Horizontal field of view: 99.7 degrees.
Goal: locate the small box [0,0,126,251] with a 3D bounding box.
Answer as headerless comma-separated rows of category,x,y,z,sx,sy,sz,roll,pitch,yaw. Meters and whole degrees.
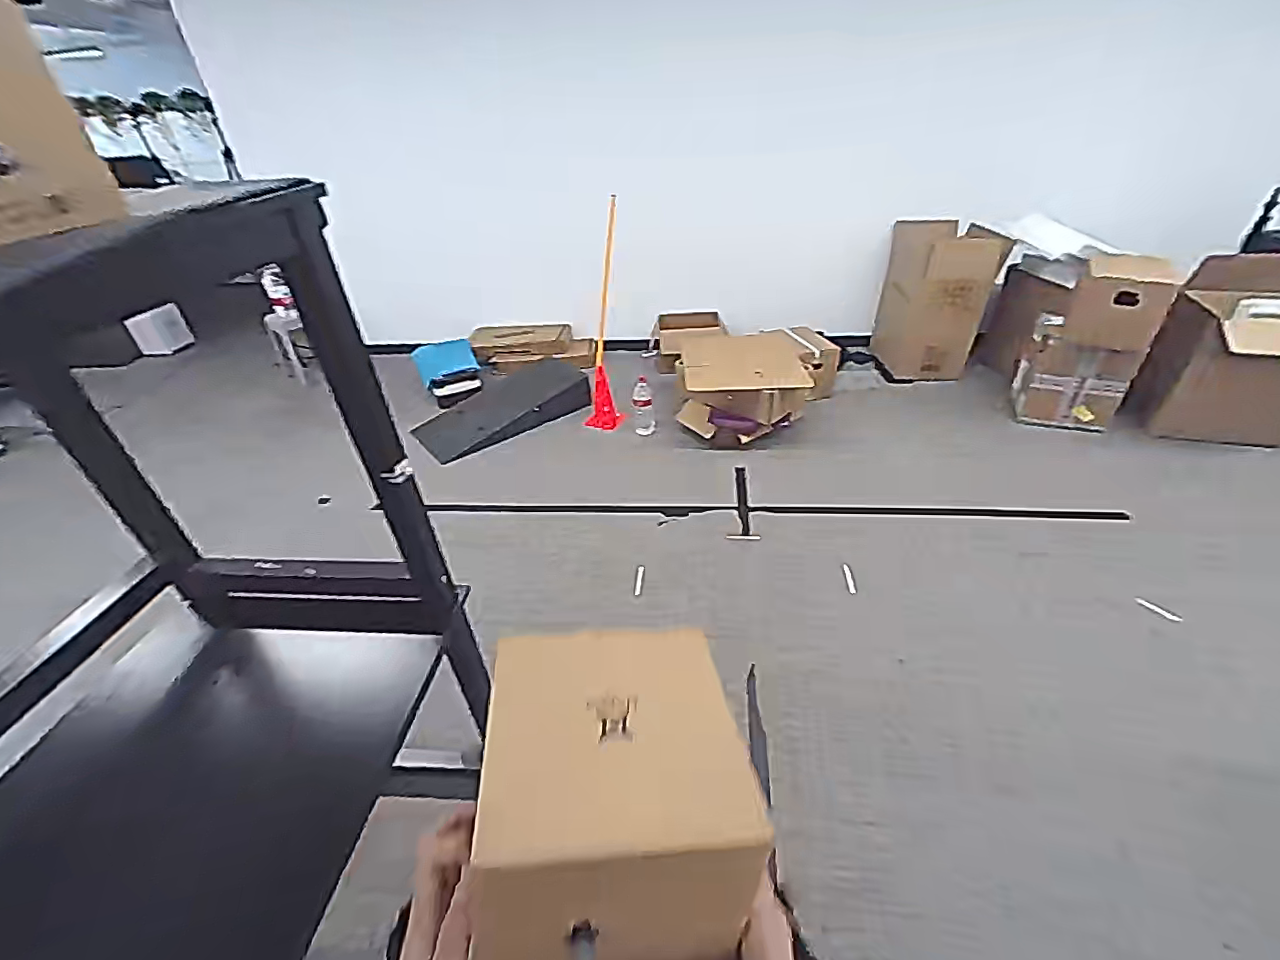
small box,-0.573,-0.262,0.406,0.179,0.176,0.168,0,36,8
